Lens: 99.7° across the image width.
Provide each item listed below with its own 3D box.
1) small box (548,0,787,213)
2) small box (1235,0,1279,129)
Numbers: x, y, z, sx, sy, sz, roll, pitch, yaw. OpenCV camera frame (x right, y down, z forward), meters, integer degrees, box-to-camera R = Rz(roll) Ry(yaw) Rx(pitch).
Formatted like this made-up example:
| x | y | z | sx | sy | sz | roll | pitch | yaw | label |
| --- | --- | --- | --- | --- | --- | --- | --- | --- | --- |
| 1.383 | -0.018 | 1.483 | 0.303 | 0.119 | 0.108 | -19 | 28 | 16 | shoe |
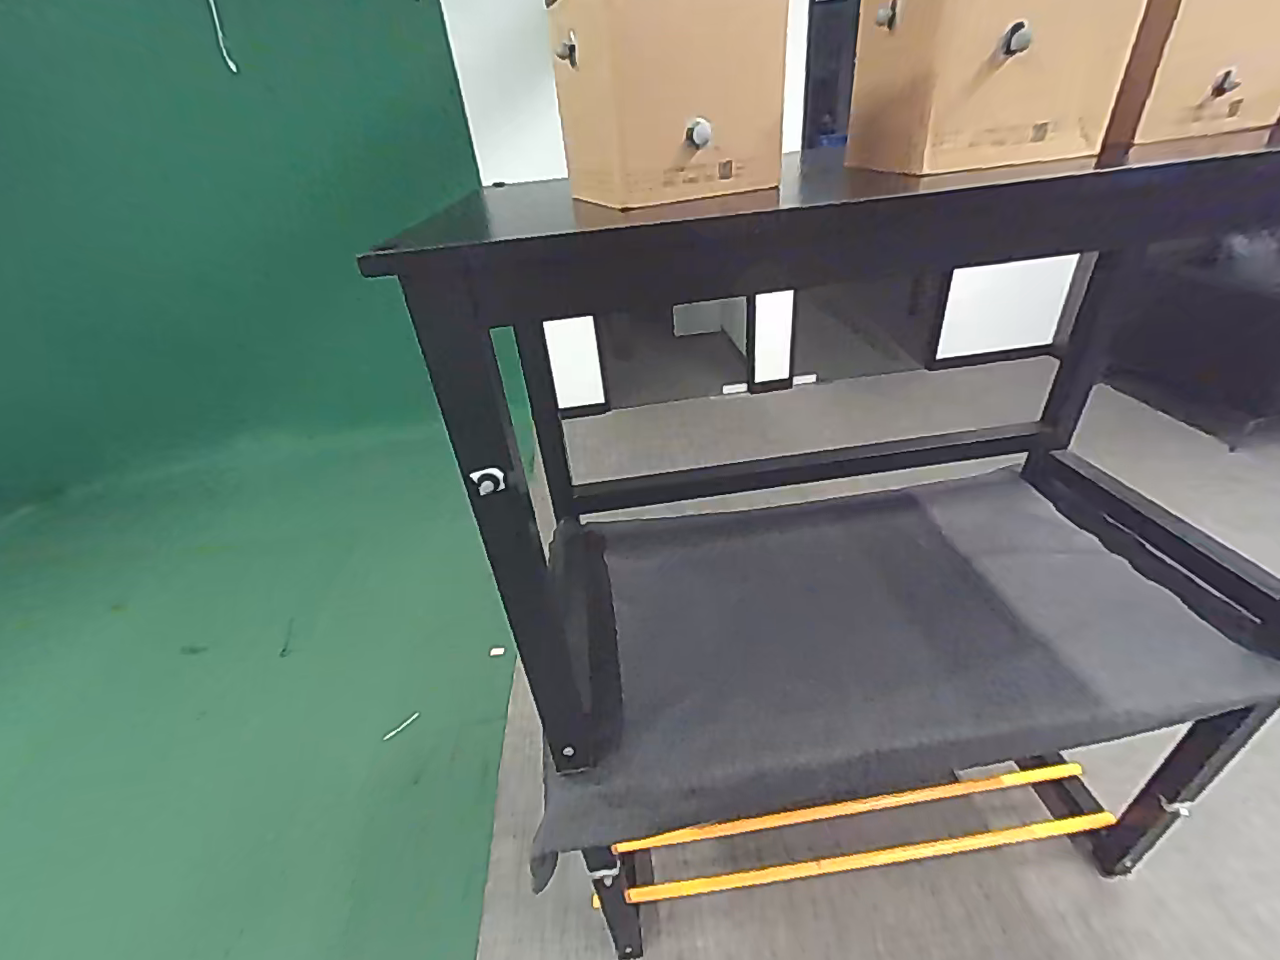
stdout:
| x | y | z | sx | sy | sz | roll | pitch | yaw | label |
| --- | --- | --- | --- | --- | --- | --- | --- | --- | --- |
| 0.020 | -0.364 | 0.523 | 0.168 | 0.176 | 0.179 | -16 | 35 | -15 | small box |
| 0.781 | -0.457 | 0.534 | 0.168 | 0.176 | 0.179 | -1 | 33 | 7 | small box |
